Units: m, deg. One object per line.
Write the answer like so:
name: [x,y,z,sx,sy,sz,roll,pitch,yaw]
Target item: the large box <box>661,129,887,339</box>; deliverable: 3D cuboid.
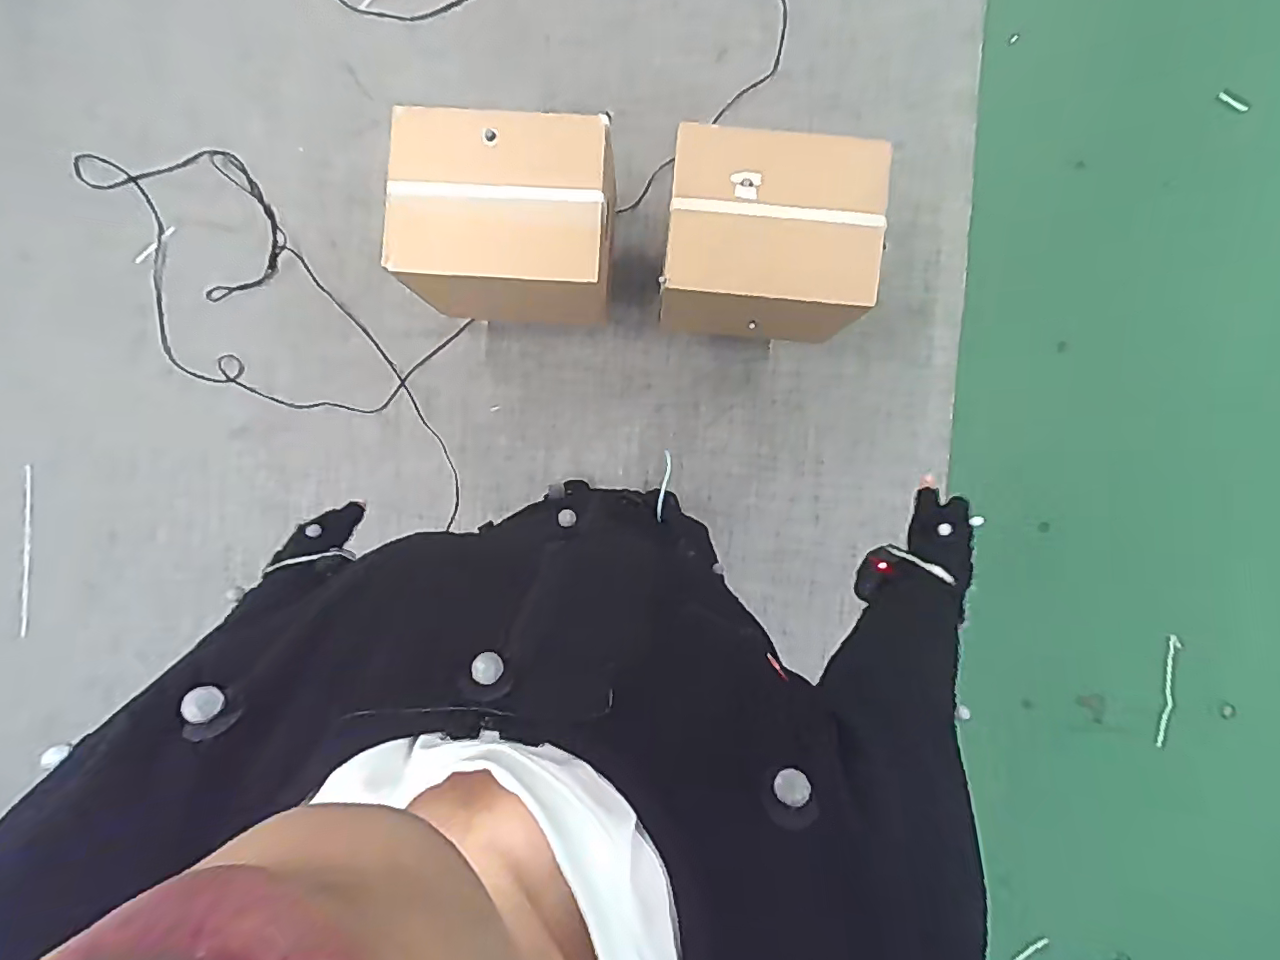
large box: [0.262,-0.504,1.178,0.408,0.320,0.320,6,91,0]
